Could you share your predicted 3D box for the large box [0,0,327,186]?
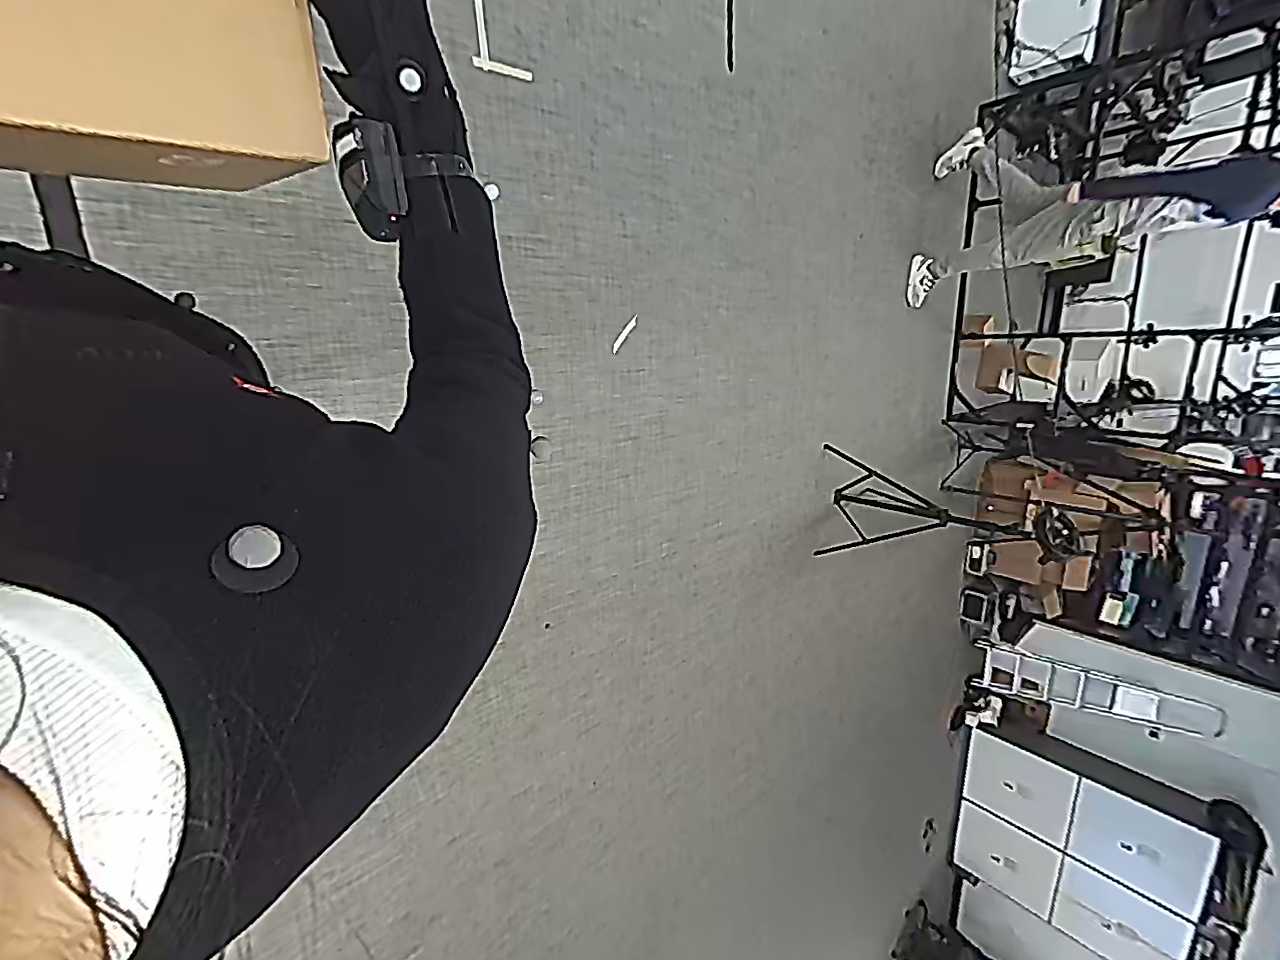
[{"bbox_3d":[-0.457,-0.354,0.286,0.408,0.320,0.320,-19,121,-40],"label":"large box"}]
